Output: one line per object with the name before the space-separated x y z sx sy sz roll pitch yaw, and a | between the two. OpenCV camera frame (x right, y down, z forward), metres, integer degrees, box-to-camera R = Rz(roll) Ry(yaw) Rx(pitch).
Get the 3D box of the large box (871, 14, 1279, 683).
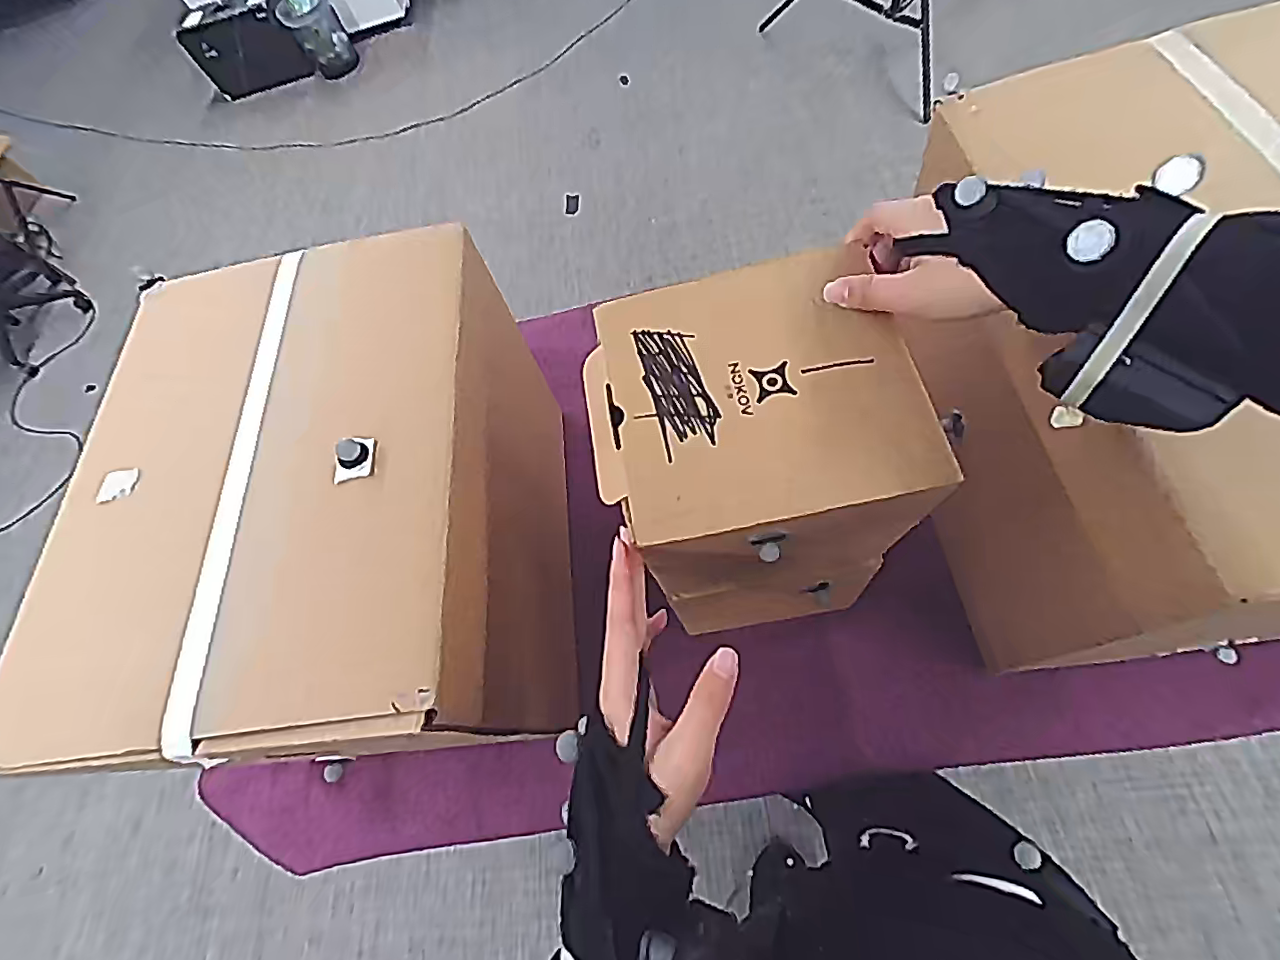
large box | 0.427 -0.079 0.445 0.320 0.320 0.408 -10 62 7
